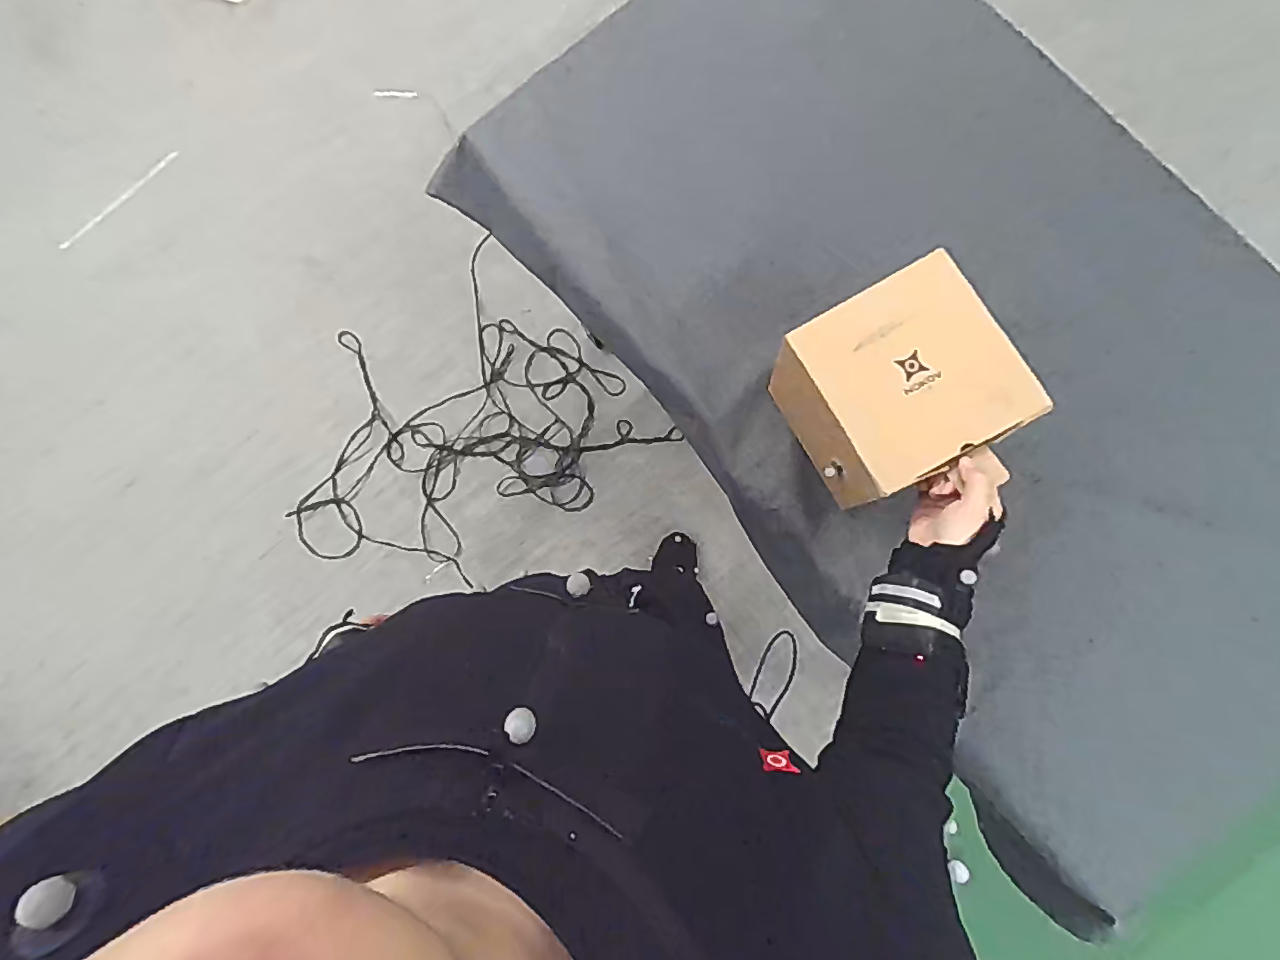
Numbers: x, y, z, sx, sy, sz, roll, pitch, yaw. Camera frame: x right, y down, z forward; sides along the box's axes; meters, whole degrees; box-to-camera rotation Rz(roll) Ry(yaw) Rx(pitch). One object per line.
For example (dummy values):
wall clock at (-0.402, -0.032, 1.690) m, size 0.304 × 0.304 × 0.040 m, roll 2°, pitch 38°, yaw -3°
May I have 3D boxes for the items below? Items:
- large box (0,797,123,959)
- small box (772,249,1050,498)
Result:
large box at (-1.593, 1.082, 1.291) m, size 0.320 × 0.320 × 0.408 m, roll -41°, pitch 80°, yaw -1°
small box at (0.257, -0.091, 0.564) m, size 0.168 × 0.176 × 0.179 m, roll -29°, pitch 79°, yaw 2°
